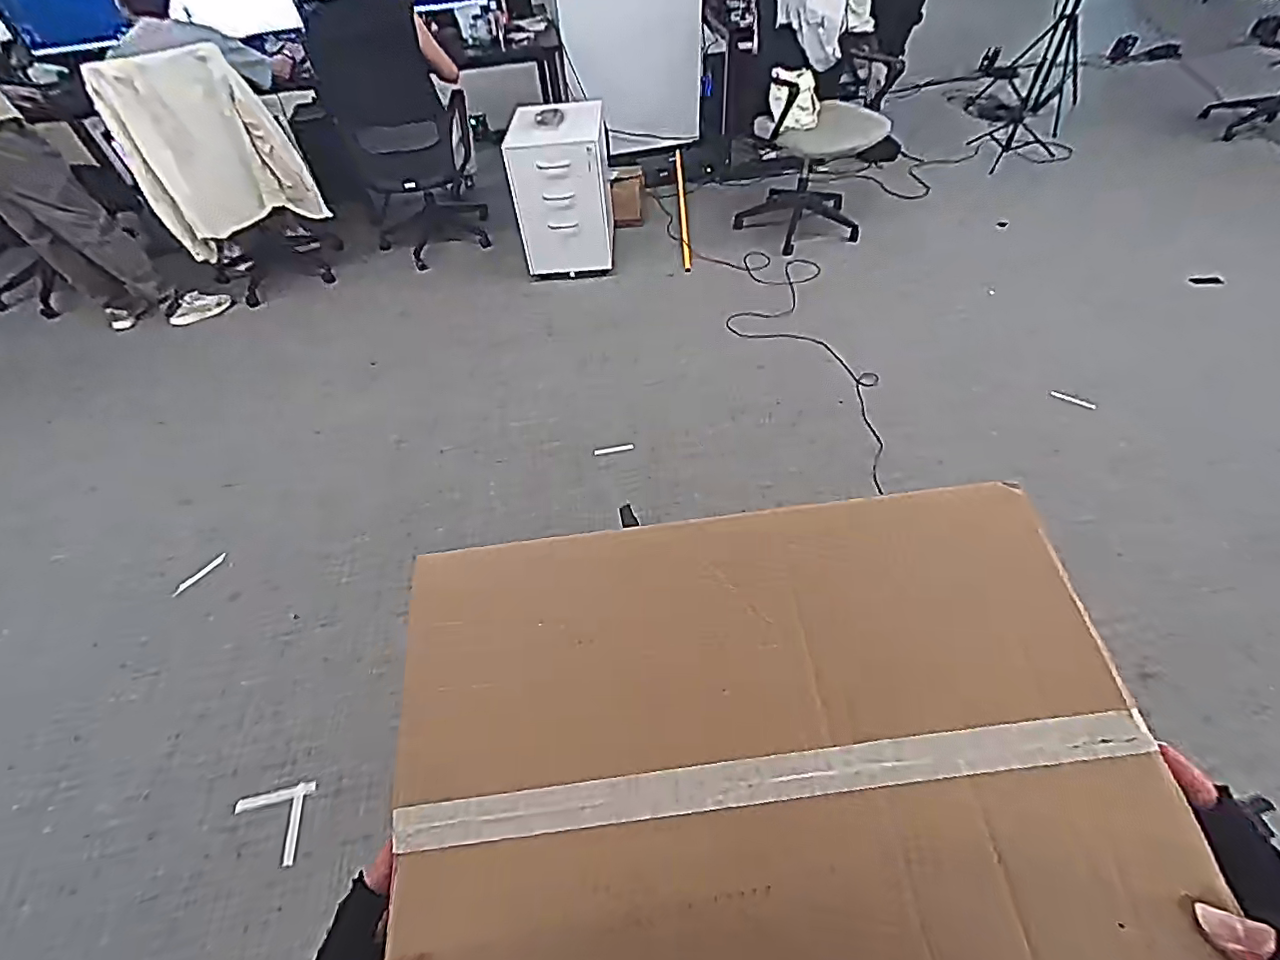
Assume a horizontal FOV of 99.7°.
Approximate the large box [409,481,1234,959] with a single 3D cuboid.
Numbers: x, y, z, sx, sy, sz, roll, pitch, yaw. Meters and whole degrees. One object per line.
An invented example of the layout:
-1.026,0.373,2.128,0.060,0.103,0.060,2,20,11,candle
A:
0.079,0.231,0.435,0.408,0.320,0.320,-7,62,0,large box
